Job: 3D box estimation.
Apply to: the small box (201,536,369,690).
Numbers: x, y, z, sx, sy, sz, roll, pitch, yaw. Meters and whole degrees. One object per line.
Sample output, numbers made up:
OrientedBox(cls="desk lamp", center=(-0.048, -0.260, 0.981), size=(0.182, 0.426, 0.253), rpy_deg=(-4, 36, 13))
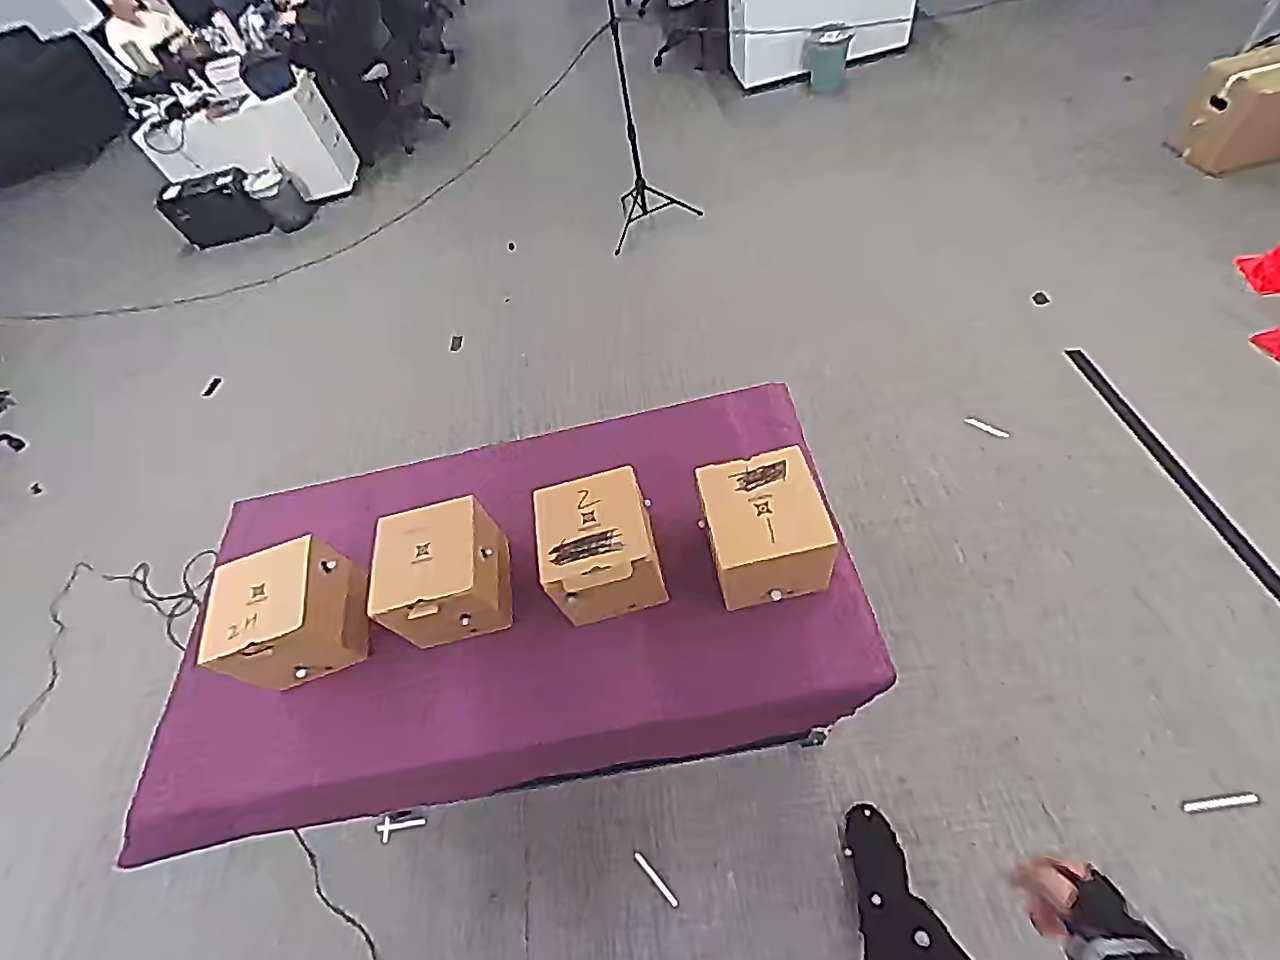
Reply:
OrientedBox(cls="small box", center=(-0.581, 0.228, 0.913), size=(0.168, 0.176, 0.179), rpy_deg=(-20, 55, -1))

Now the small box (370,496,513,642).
OrientedBox(cls="small box", center=(-0.320, 0.158, 0.906), size=(0.168, 0.176, 0.179), rpy_deg=(-14, 55, 2))

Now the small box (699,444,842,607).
OrientedBox(cls="small box", center=(0.195, 0.076, 0.844), size=(0.168, 0.176, 0.179), rpy_deg=(-14, 55, 4))
